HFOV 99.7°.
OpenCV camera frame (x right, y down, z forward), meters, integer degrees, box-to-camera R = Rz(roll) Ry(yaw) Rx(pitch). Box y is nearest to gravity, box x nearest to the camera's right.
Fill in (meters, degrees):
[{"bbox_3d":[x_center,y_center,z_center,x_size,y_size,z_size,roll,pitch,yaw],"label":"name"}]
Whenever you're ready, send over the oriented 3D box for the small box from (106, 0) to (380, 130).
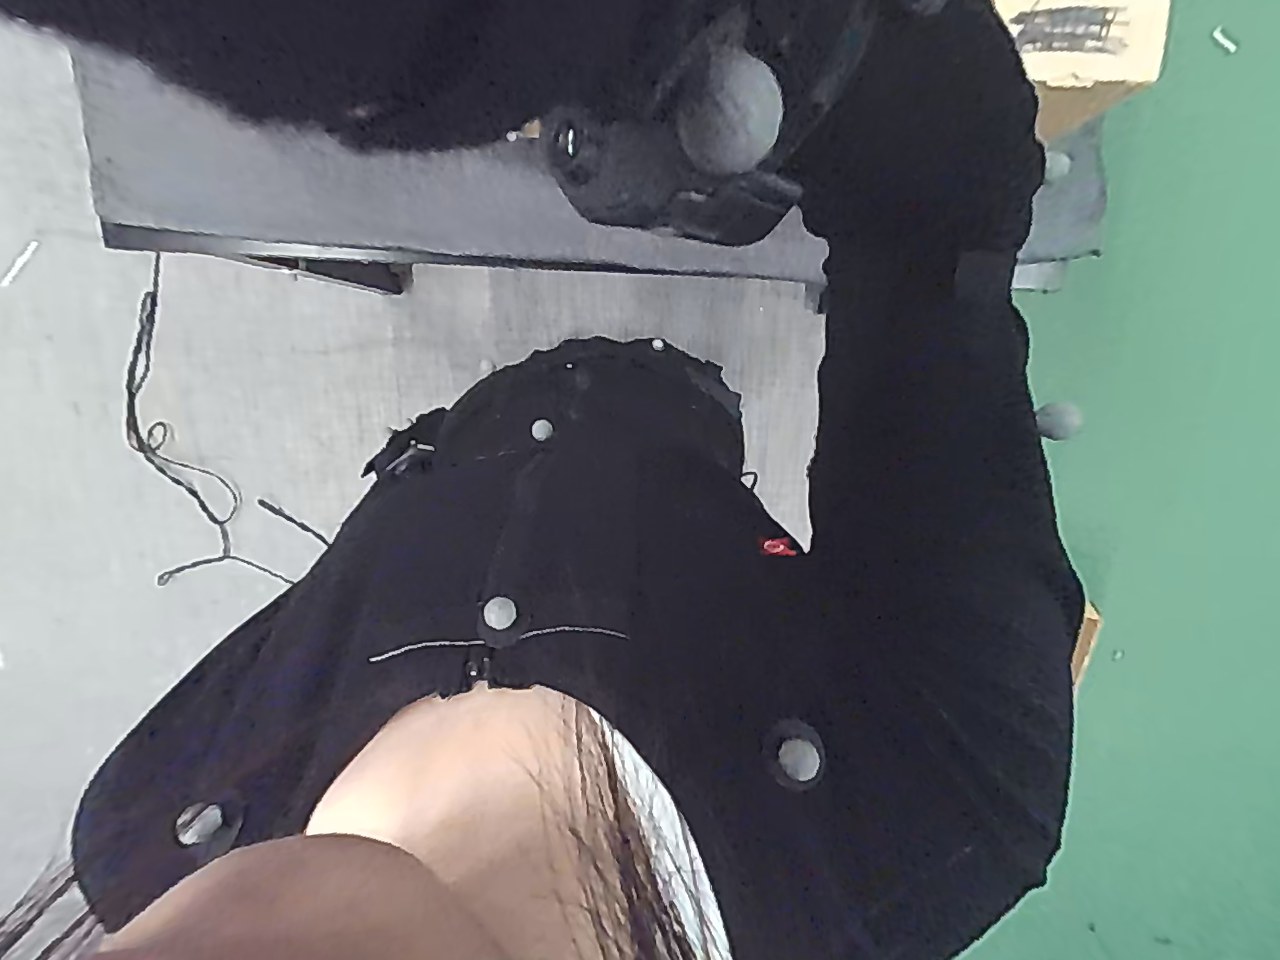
[{"bbox_3d":[-0.374,-0.481,0.531,0.168,0.176,0.179,1,102,-4],"label":"small box"}]
